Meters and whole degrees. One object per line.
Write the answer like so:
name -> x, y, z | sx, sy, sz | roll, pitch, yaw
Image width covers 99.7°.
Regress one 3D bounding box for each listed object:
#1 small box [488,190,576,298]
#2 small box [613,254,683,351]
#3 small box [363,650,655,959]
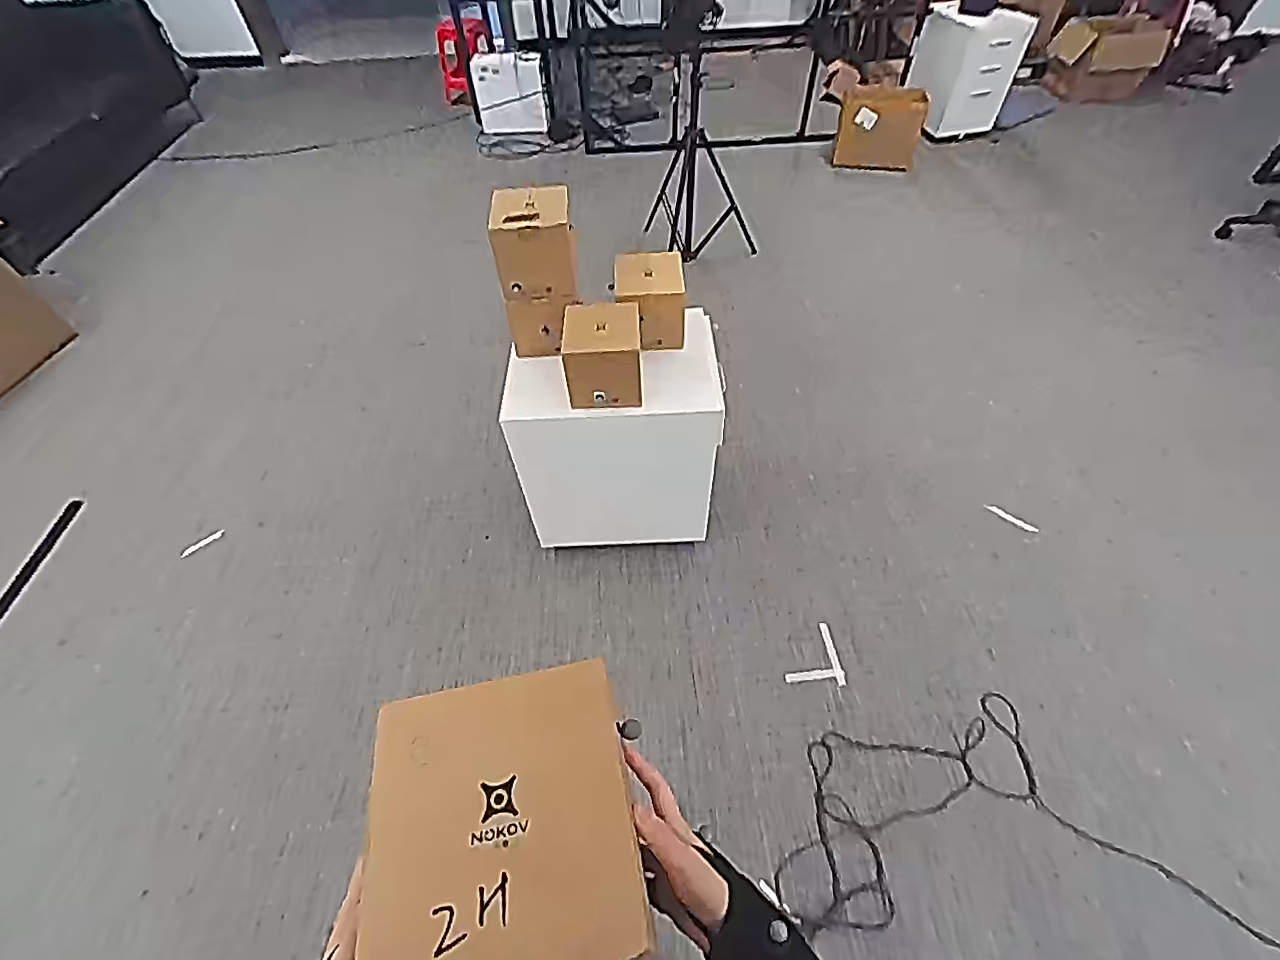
small box -> -0.236, -0.528, 1.225 | 0.168, 0.176, 0.179 | -5, 52, -2
small box -> 0.022, -0.439, 1.356 | 0.168, 0.176, 0.179 | -3, 52, 1
small box -> -0.085, 0.258, 0.414 | 0.168, 0.176, 0.179 | -10, 52, -5
